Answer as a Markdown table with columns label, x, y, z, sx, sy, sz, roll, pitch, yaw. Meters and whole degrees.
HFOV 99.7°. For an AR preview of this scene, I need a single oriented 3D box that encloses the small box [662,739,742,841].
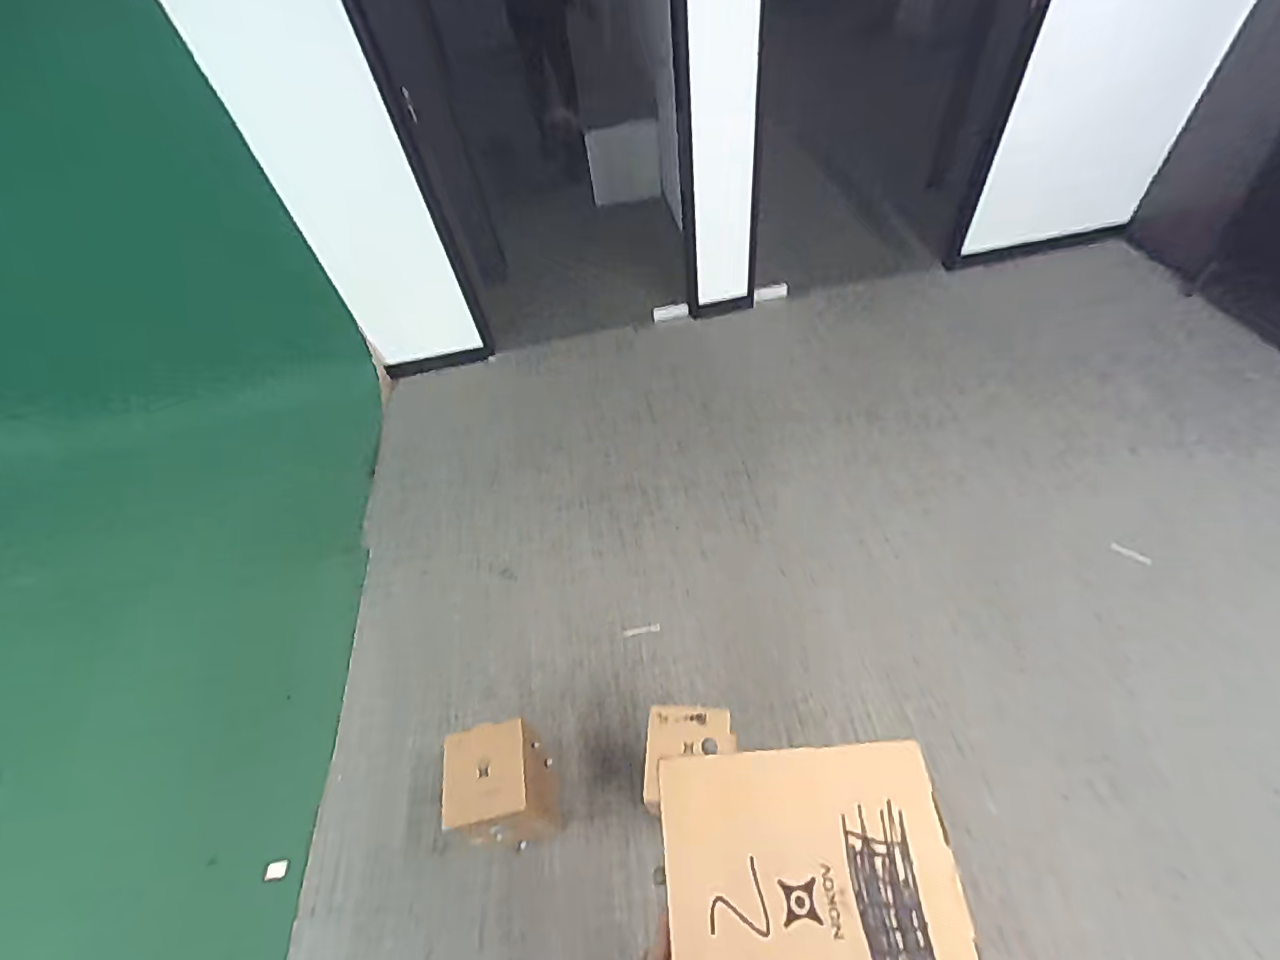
| label | x | y | z | sx | sy | sz | roll | pitch | yaw |
| --- | --- | --- | --- | --- | --- | --- | --- | --- | --- |
| small box | 0.137 | 0.699 | 1.220 | 0.168 | 0.176 | 0.179 | -3 | 50 | 6 |

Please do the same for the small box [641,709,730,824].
| label | x | y | z | sx | sy | sz | roll | pitch | yaw |
| --- | --- | --- | --- | --- | --- | --- | --- | --- | --- |
| small box | 0.100 | 0.588 | 1.104 | 0.168 | 0.176 | 0.179 | 0 | 51 | 9 |

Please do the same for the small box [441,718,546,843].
| label | x | y | z | sx | sy | sz | roll | pitch | yaw |
| --- | --- | --- | --- | --- | --- | --- | --- | --- | --- |
| small box | -0.301 | 0.629 | 1.128 | 0.168 | 0.176 | 0.179 | -14 | 50 | -2 |

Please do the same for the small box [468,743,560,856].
| label | x | y | z | sx | sy | sz | roll | pitch | yaw |
| --- | --- | --- | --- | --- | --- | --- | --- | --- | --- |
| small box | -0.288 | 0.738 | 1.248 | 0.168 | 0.176 | 0.179 | -13 | 50 | -3 |
